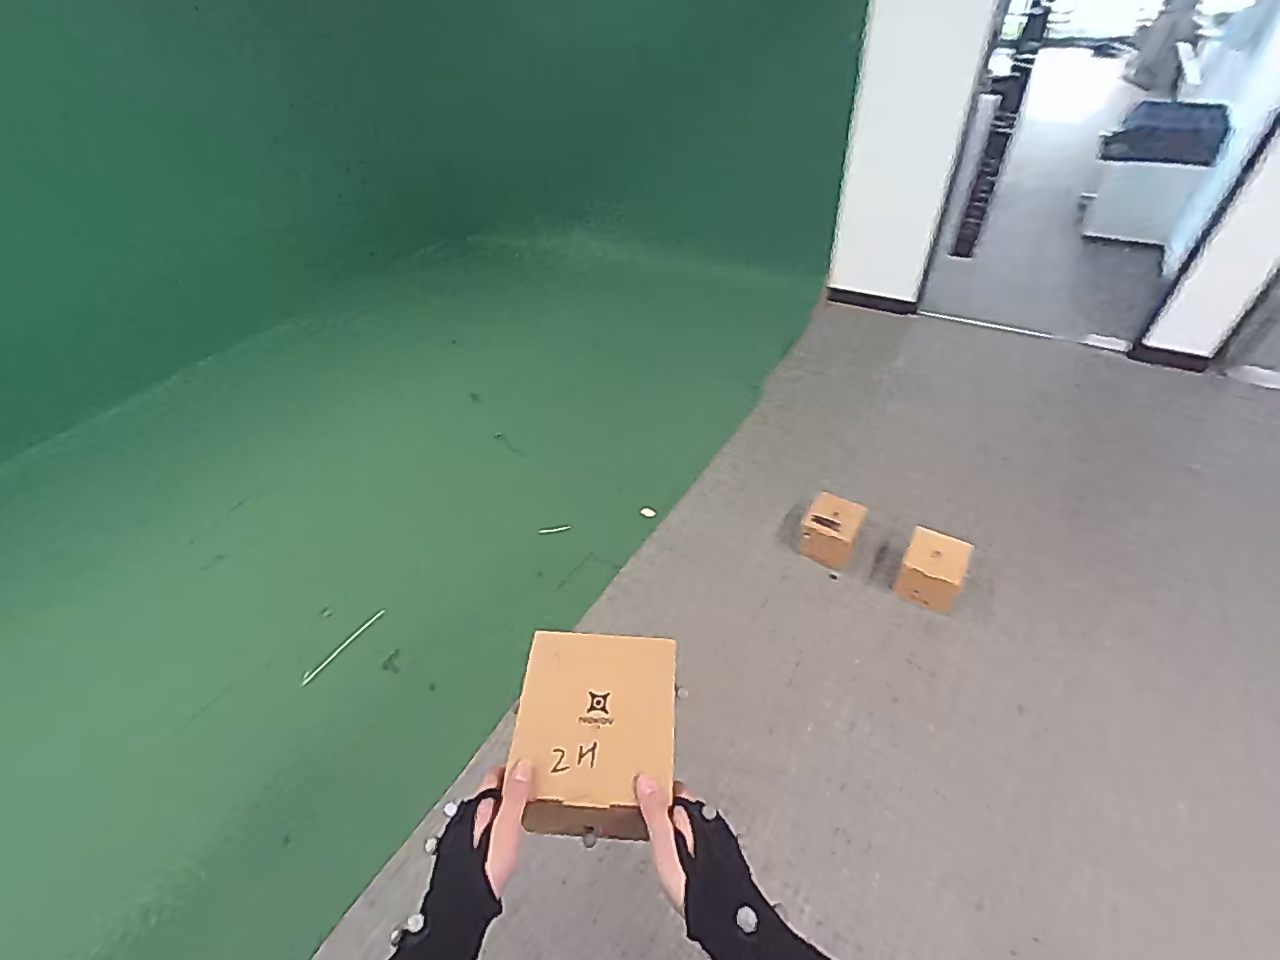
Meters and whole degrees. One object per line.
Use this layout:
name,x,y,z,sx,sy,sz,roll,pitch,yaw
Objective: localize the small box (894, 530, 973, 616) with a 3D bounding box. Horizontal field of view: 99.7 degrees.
small box,0.935,0.300,1.731,0.168,0.176,0.179,21,54,27
